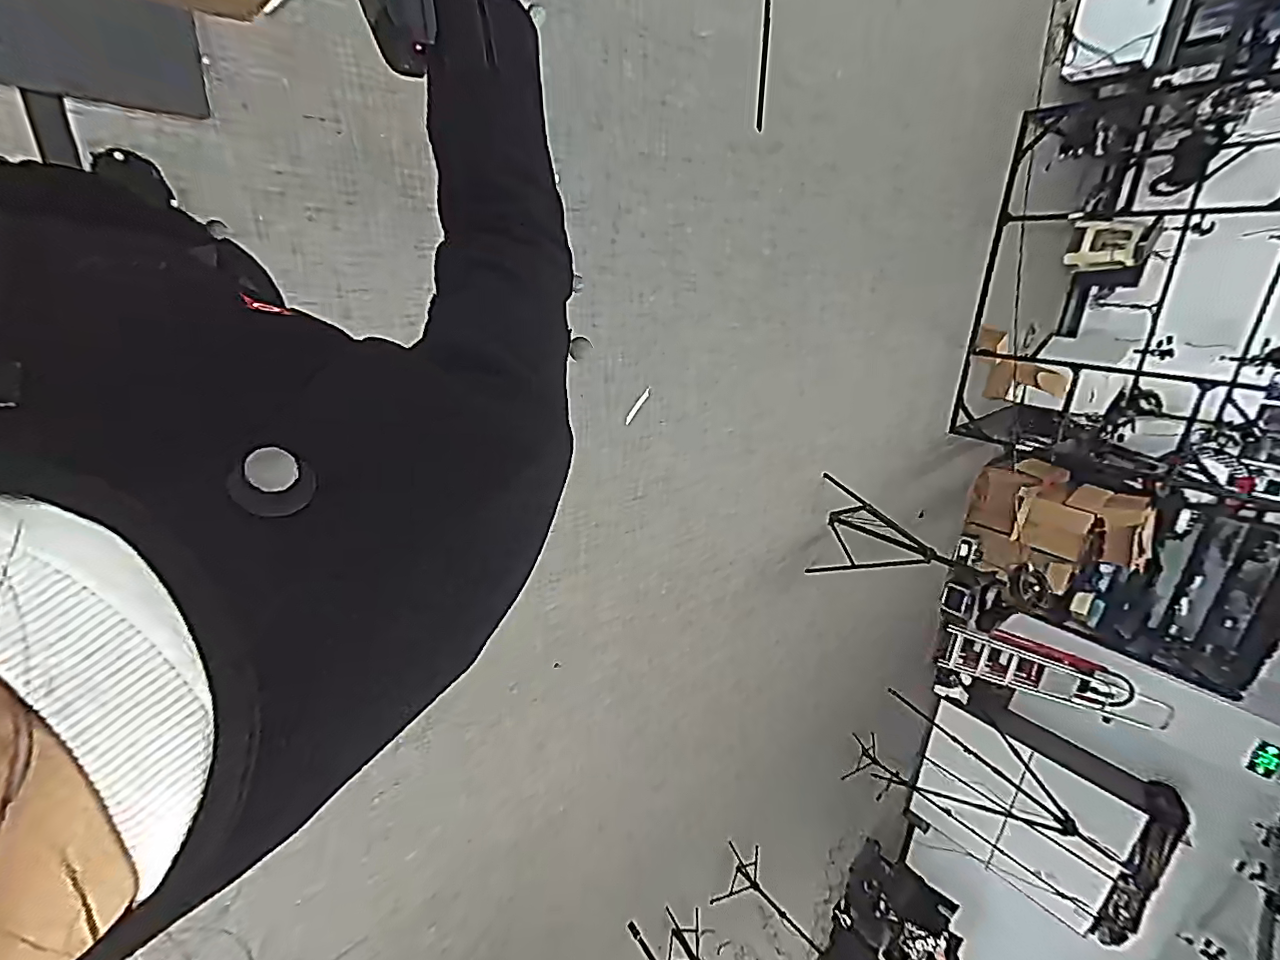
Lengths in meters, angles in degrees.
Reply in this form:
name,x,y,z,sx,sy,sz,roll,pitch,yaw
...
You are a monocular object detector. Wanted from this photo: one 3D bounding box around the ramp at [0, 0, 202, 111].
name,x,y,z,sx,sy,sz,roll,pitch,yaw
ramp,-0.929,-1.081,0.645,0.509,0.206,0.991,-16,118,-38
